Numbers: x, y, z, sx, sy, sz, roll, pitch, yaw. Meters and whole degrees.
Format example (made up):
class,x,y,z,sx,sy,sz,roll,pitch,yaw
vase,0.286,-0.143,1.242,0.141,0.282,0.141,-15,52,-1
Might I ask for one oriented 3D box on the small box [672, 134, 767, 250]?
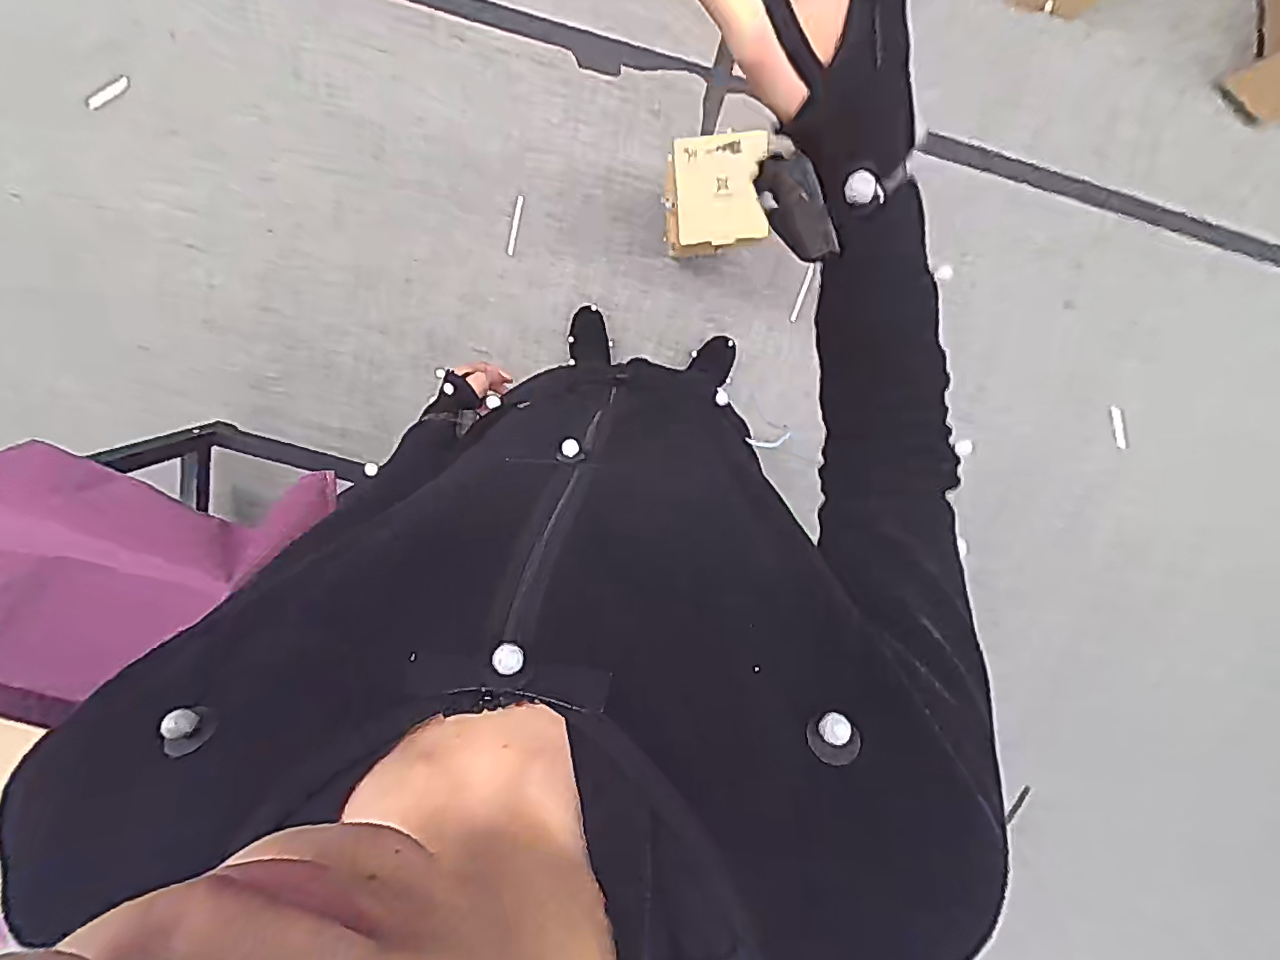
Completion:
class,x,y,z,sx,sy,sz,roll,pitch,yaw
small box,0.150,-0.550,1.056,0.168,0.176,0.179,-4,109,3
